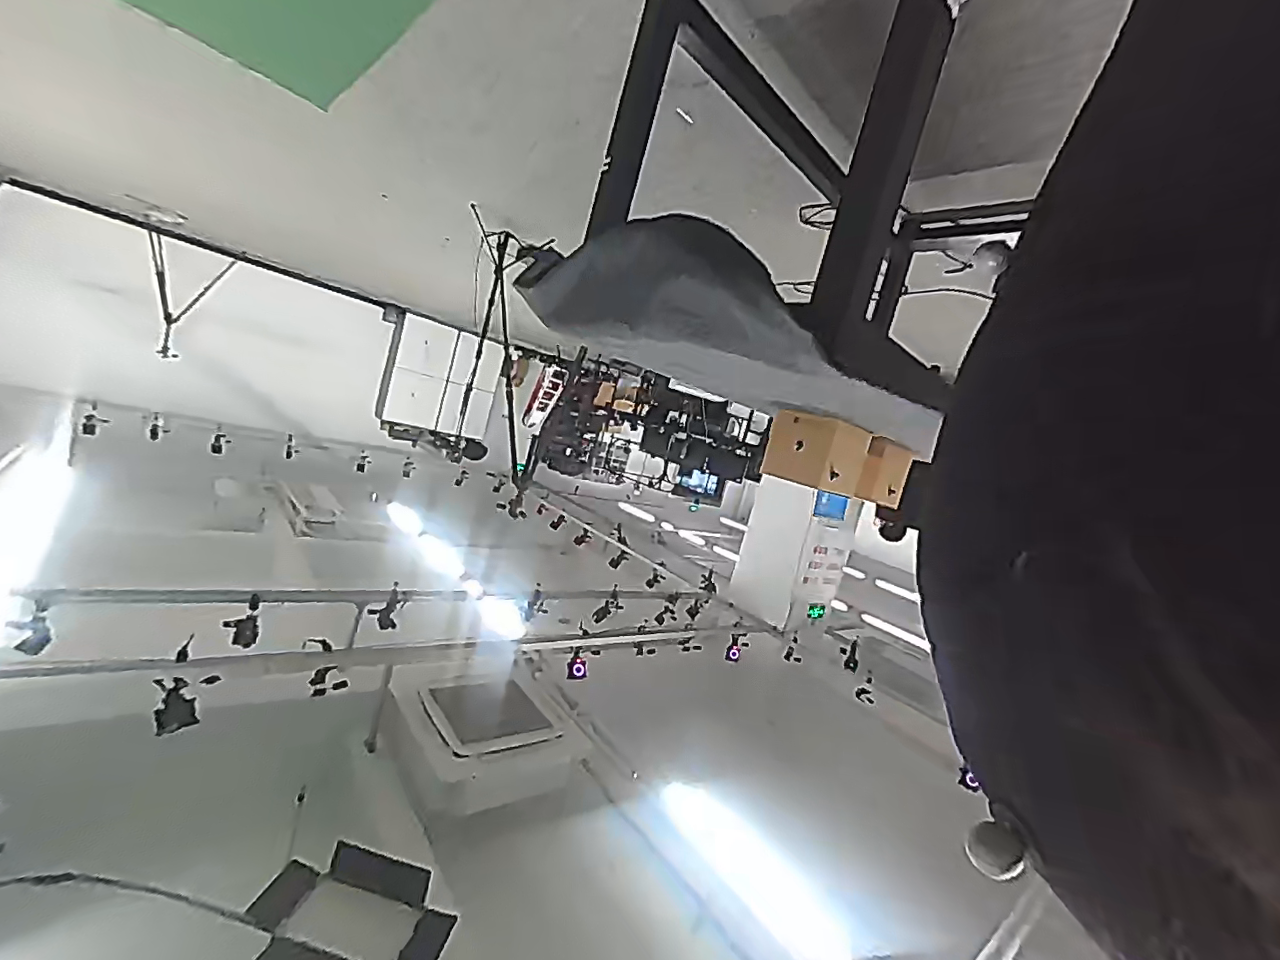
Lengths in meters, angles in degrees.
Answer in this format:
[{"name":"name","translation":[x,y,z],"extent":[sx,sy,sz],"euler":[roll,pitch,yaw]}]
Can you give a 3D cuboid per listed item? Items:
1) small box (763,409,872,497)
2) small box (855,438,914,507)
[{"name":"small box","translation":[0.434,-0.068,1.317],"extent":[0.179,0.176,0.168],"euler":[11,-173,-41]},{"name":"small box","translation":[0.637,-0.033,1.516],"extent":[0.179,0.176,0.168],"euler":[10,-173,-41]}]
